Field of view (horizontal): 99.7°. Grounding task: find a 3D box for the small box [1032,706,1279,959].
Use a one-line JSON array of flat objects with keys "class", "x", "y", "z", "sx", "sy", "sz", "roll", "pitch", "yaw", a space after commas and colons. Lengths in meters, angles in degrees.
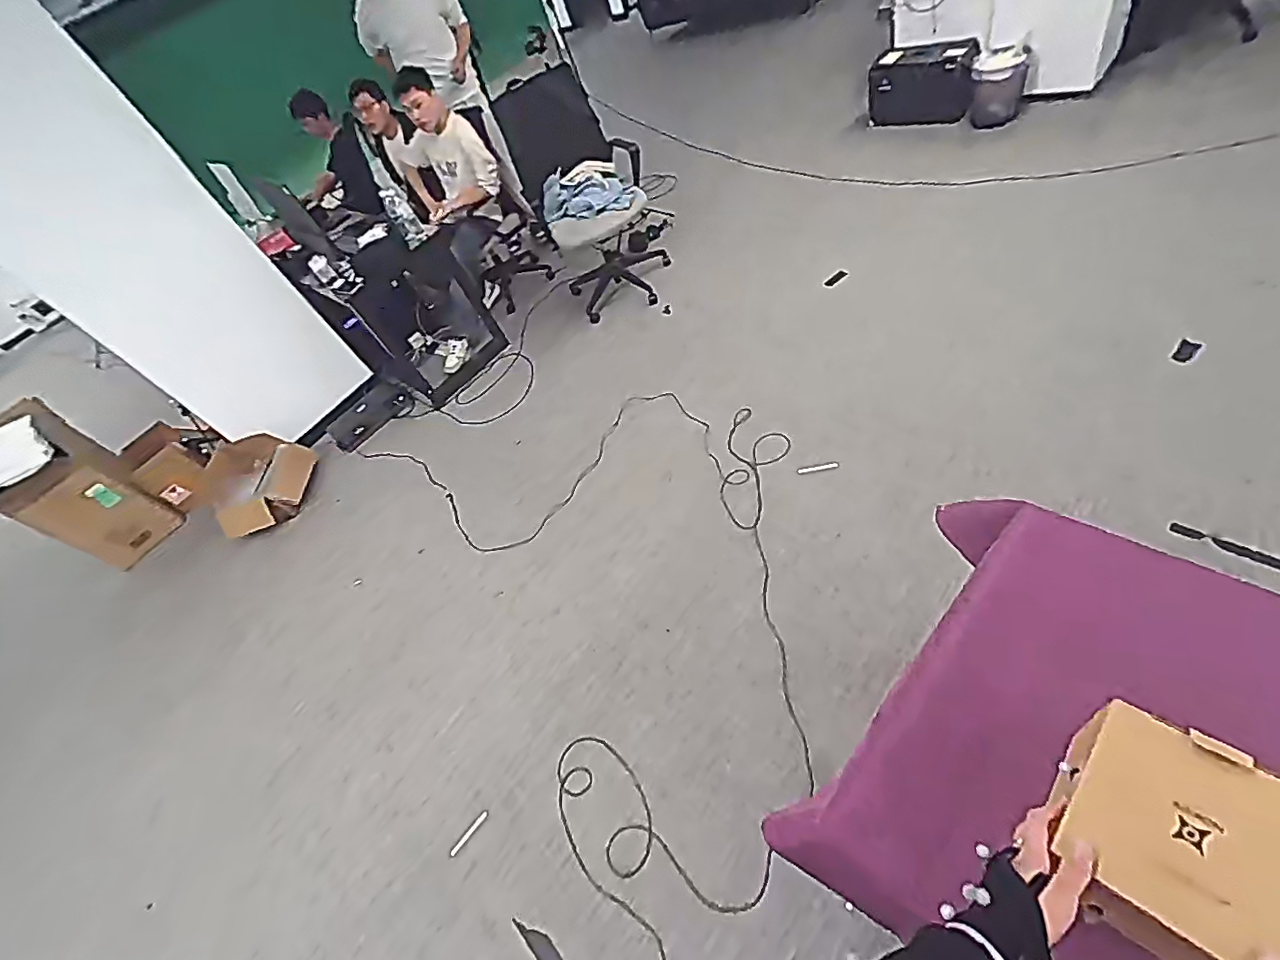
[{"class": "small box", "x": 0.526, "y": 0.369, "z": 0.540, "sx": 0.168, "sy": 0.176, "sz": 0.179, "roll": 27, "pitch": 68, "yaw": 39}]
